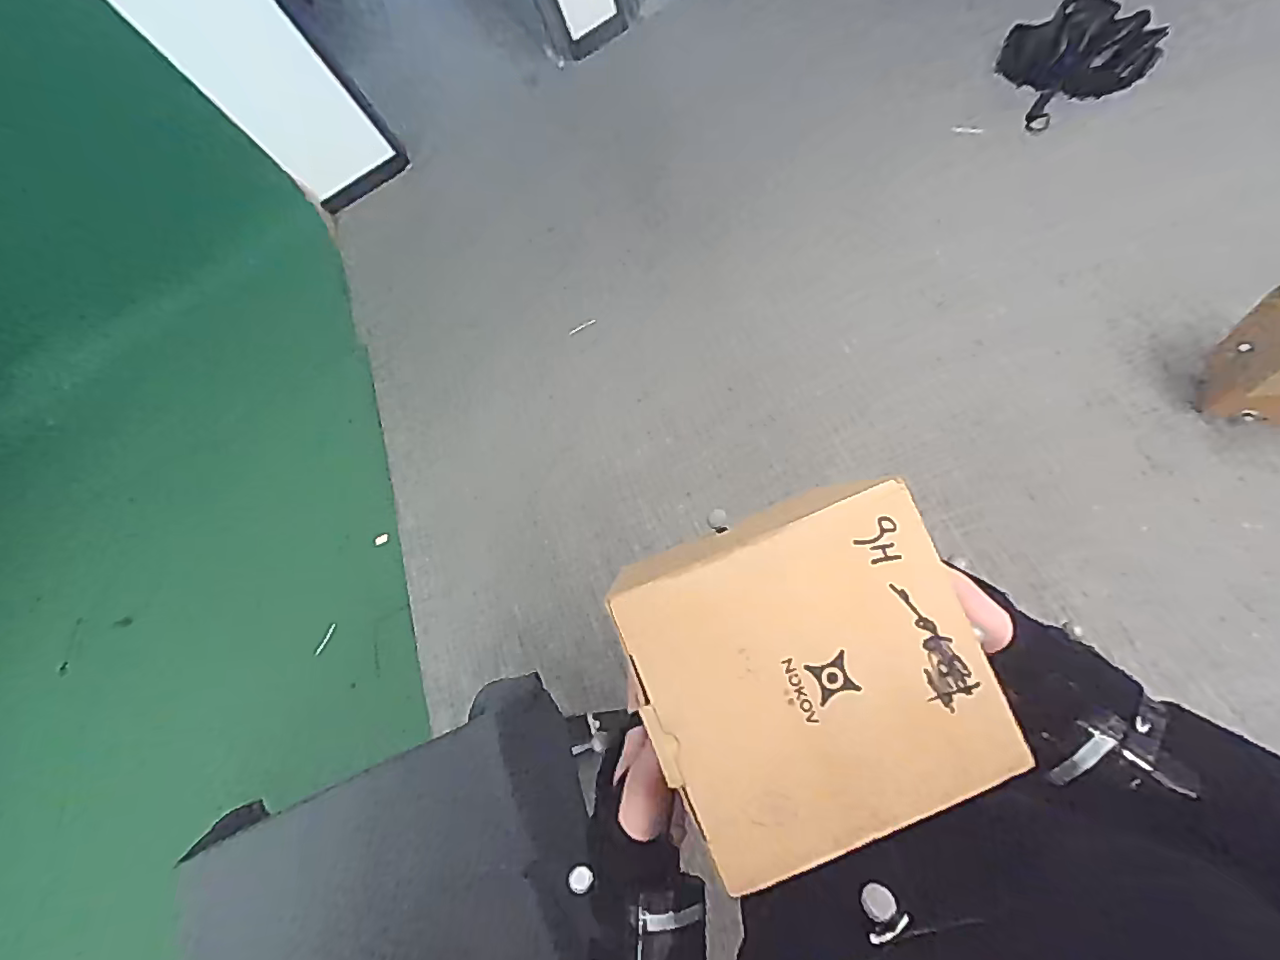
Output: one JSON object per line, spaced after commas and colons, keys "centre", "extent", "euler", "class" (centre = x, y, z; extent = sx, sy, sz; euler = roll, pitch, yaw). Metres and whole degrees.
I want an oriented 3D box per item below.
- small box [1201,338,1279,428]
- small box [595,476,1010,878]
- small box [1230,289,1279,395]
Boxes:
{"centre": [1.411, -0.239, 1.206], "extent": [0.168, 0.176, 0.179], "euler": [15, 77, 24], "class": "small box"}
{"centre": [0.087, 0.108, 0.365], "extent": [0.179, 0.176, 0.168], "euler": [-21, 86, 1], "class": "small box"}
{"centre": [1.337, -0.278, 1.061], "extent": [0.179, 0.176, 0.168], "euler": [2, 70, 21], "class": "small box"}
